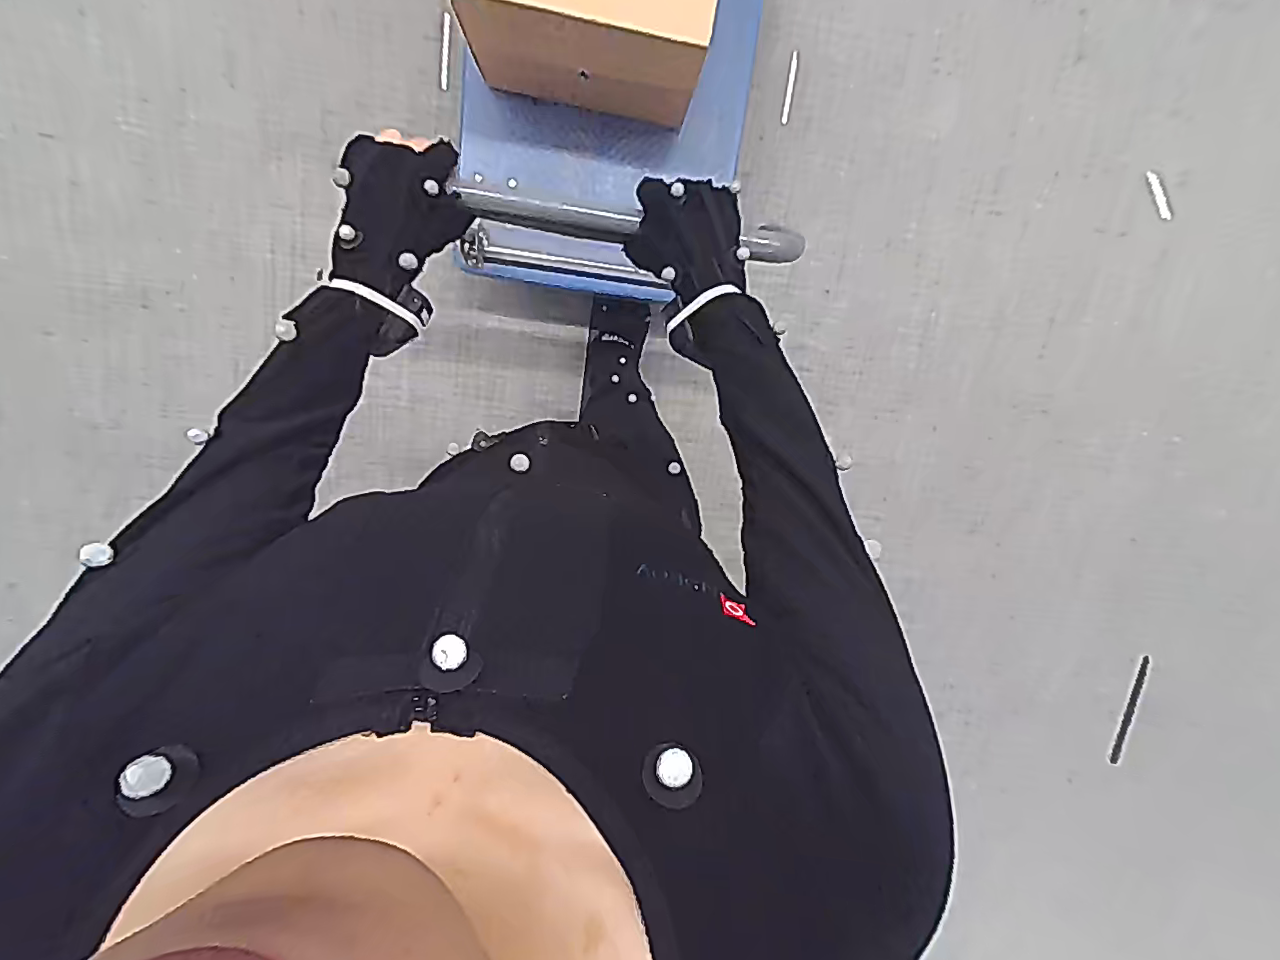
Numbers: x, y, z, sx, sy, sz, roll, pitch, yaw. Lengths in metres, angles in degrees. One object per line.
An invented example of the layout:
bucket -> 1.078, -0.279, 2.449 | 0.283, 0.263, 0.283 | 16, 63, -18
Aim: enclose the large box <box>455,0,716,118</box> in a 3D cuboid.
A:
large box -> -0.073, -0.884, 0.930 | 0.408, 0.320, 0.320 | 9, 102, -5
